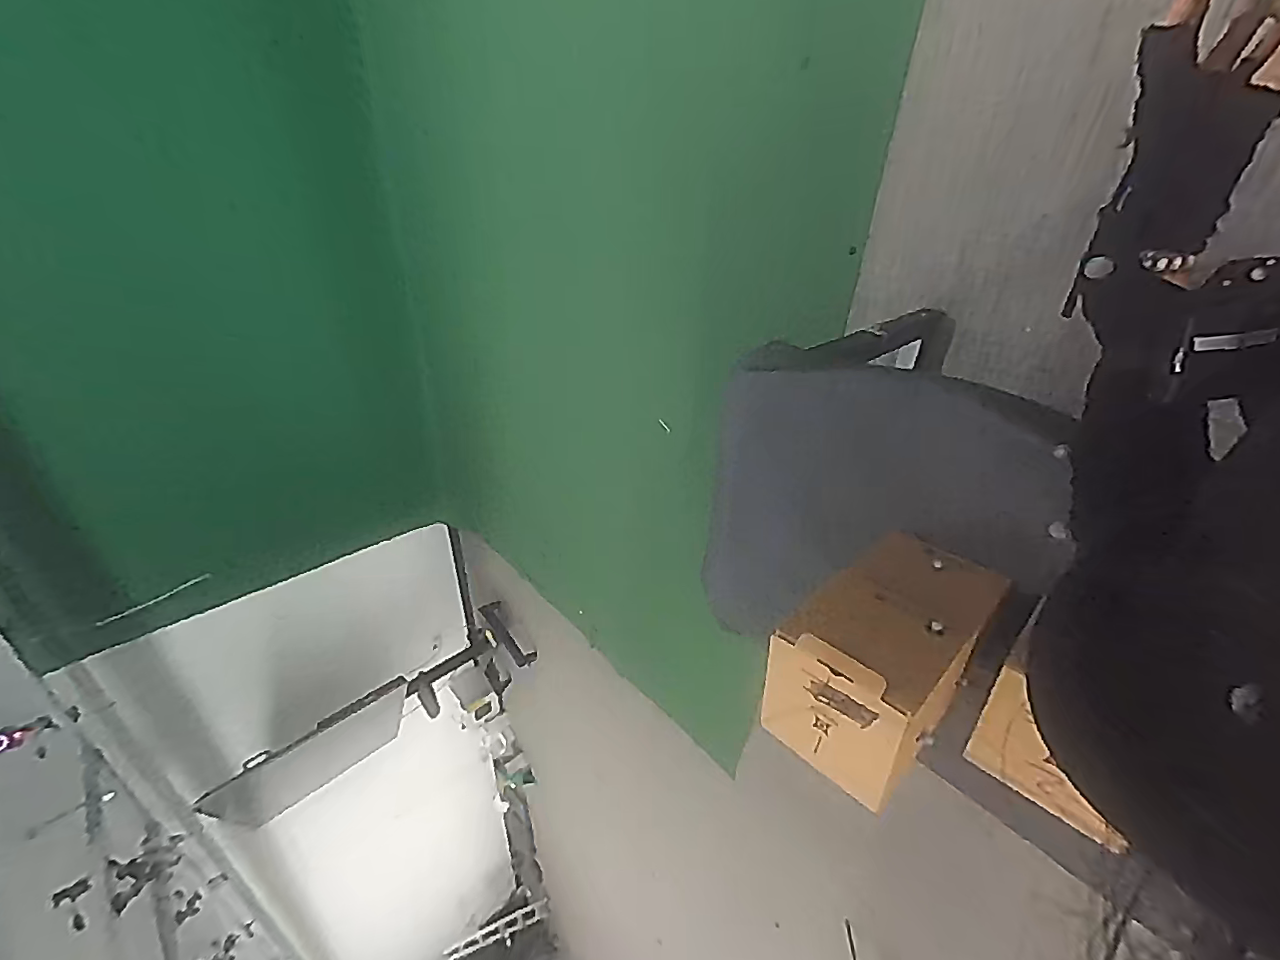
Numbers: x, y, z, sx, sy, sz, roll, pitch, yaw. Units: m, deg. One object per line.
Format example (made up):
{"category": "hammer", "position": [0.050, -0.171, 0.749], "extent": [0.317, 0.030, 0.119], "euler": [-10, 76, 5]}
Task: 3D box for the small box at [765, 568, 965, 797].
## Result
{"category": "small box", "position": [0.284, 0.243, 0.689], "extent": [0.168, 0.176, 0.179], "euler": [28, 131, 40]}
